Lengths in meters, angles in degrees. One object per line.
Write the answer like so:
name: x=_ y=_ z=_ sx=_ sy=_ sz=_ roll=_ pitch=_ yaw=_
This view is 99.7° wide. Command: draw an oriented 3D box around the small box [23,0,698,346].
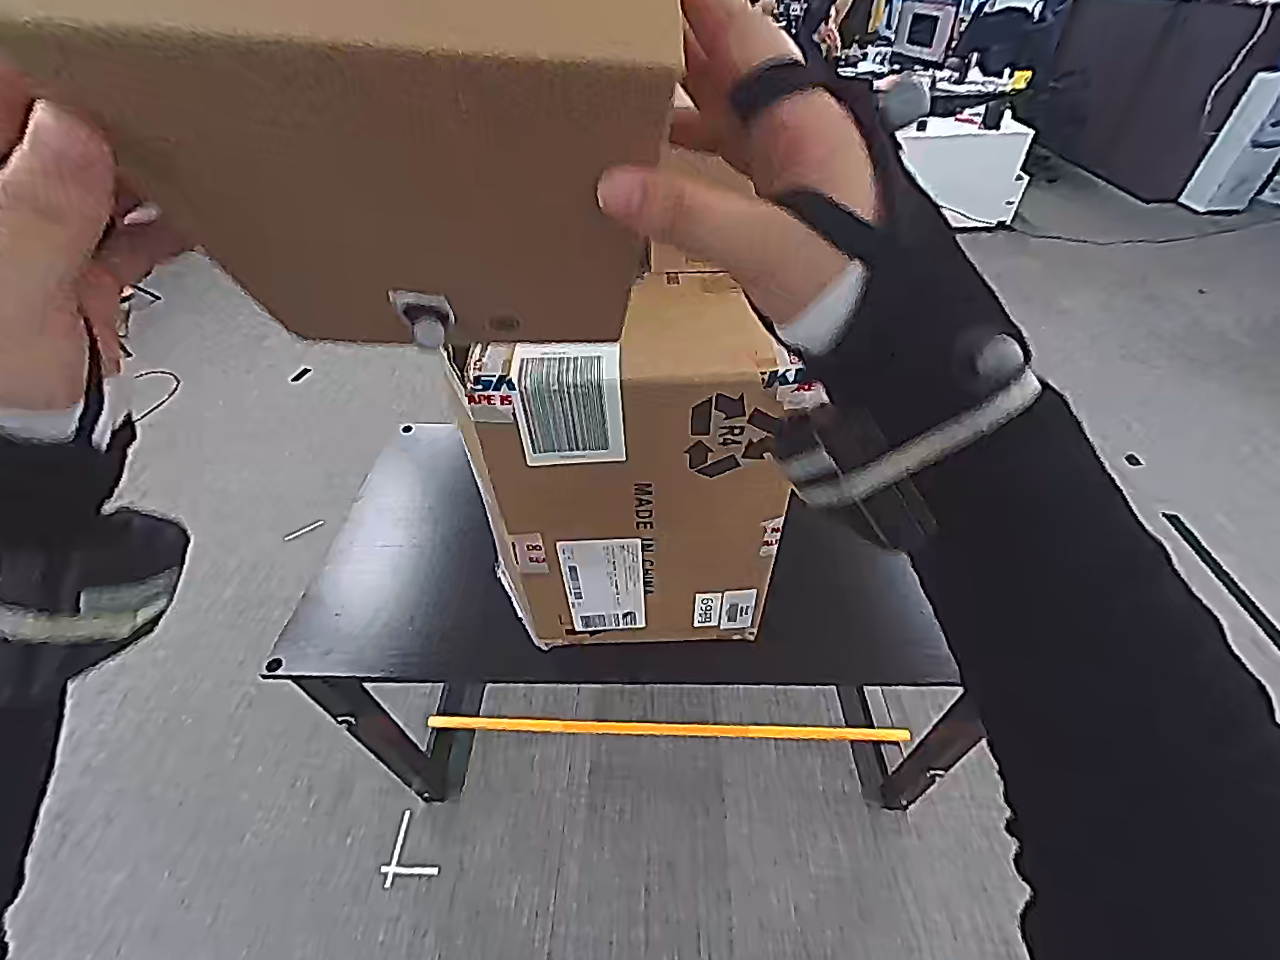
small box: x=-0.081 y=-0.175 z=0.230 sx=0.168 sy=0.176 sz=0.179 roll=-3 pitch=78 yaw=-8

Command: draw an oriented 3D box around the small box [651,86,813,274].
small box: x=0.092 y=-0.365 z=0.658 sx=0.168 sy=0.176 sz=0.179 roll=-2 pitch=43 yaw=0
